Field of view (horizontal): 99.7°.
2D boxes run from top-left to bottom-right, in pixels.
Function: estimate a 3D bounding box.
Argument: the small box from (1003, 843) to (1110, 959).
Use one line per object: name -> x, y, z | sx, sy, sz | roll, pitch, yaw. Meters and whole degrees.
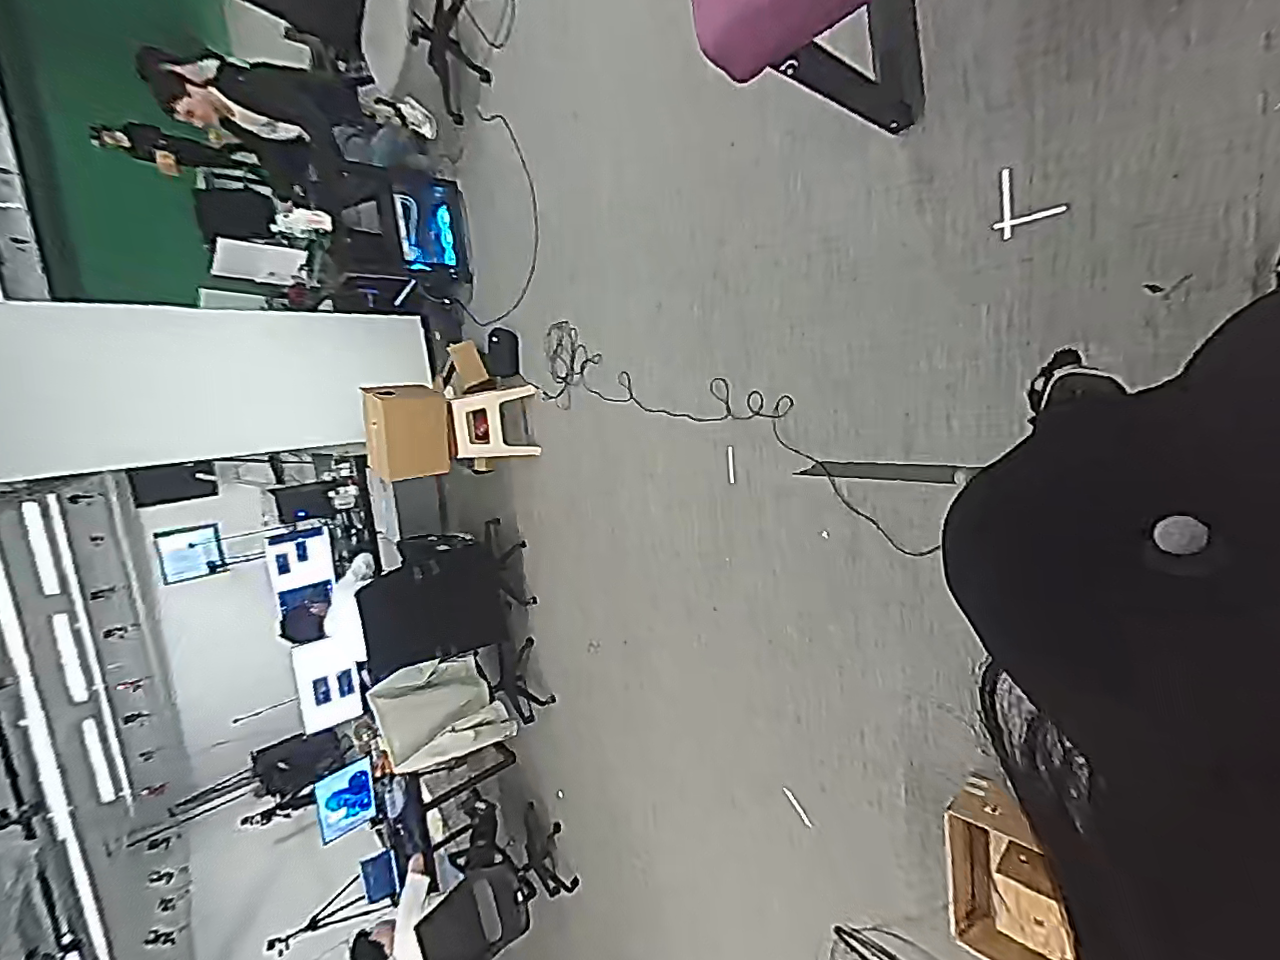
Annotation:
small box -> 1.006, 1.027, 1.307 | 0.179, 0.176, 0.168 | 2, 102, 48
